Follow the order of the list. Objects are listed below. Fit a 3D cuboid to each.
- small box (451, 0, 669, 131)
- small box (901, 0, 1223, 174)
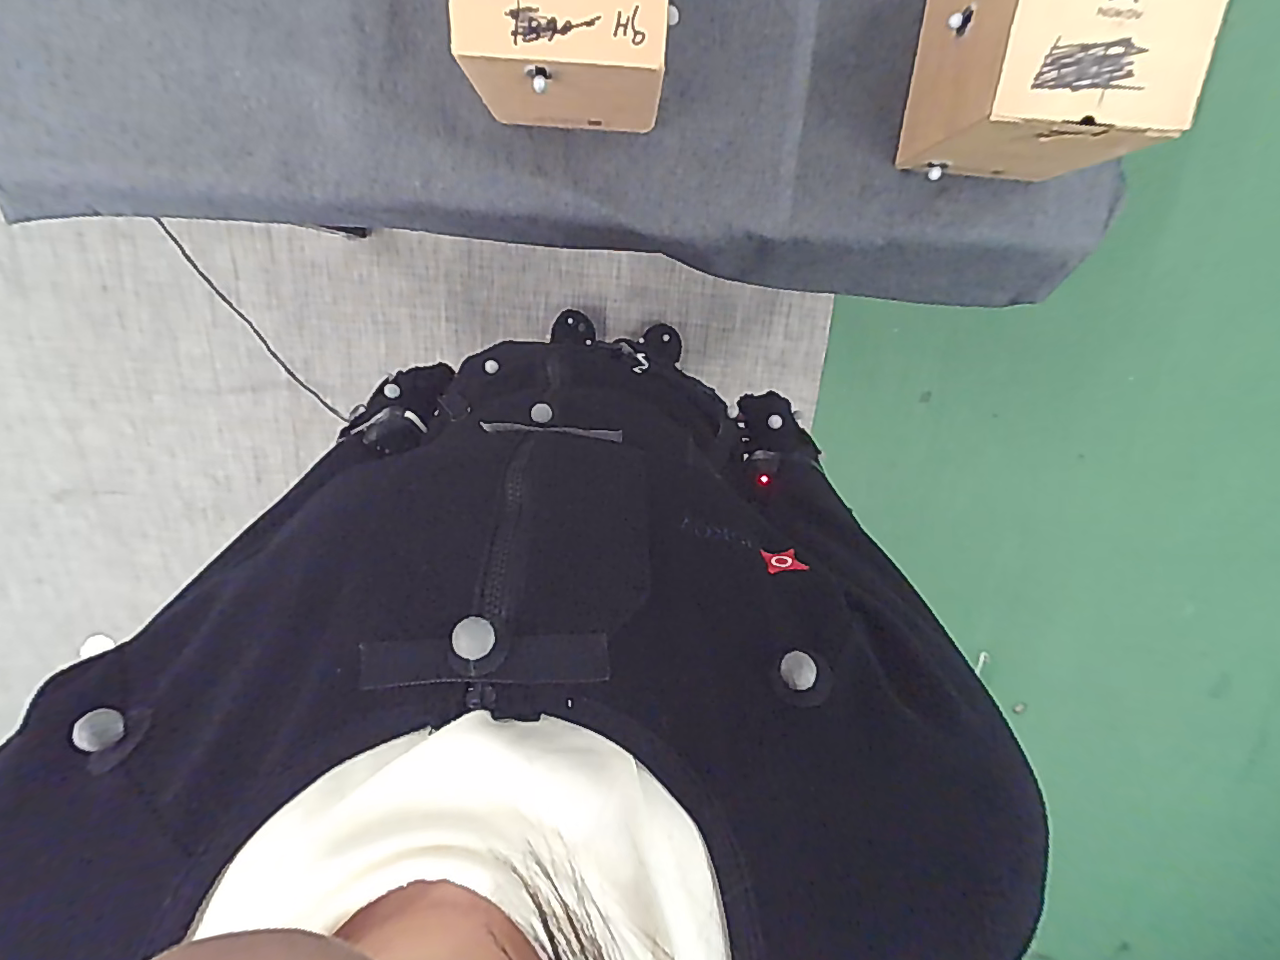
[{"bbox_3d":[-0.060,-0.434,0.468,0.168,0.176,0.179,2,107,-3],"label":"small box"},{"bbox_3d":[0.365,-0.397,0.492,0.168,0.176,0.179,4,107,-2],"label":"small box"}]
